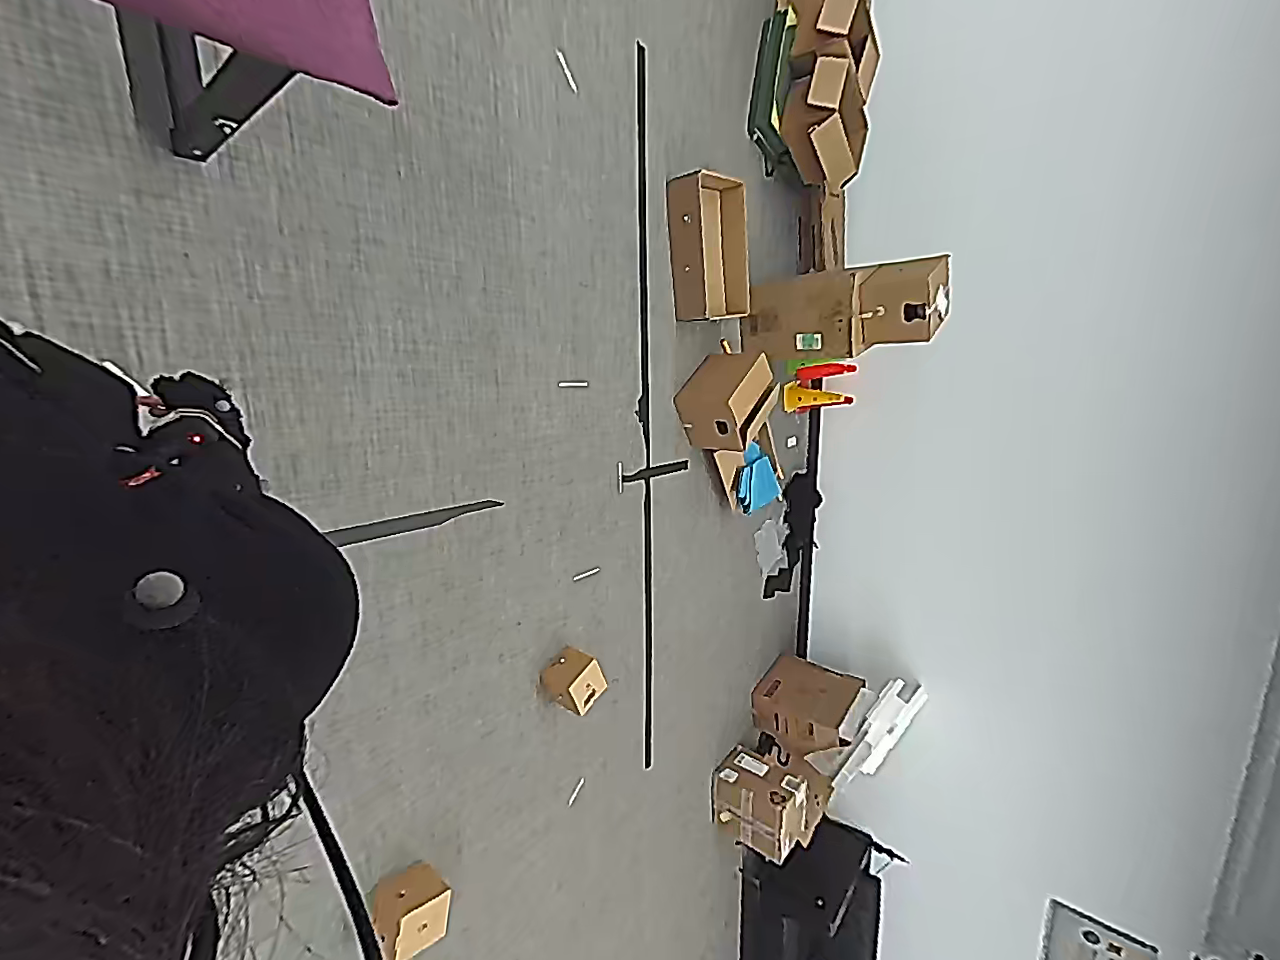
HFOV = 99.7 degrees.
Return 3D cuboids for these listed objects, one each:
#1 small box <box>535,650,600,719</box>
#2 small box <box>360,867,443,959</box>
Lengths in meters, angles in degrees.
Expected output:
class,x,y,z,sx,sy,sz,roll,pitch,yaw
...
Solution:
class,x,y,z,sx,sy,sz,roll,pitch,yaw
small box,-0.293,0.822,2.189,0.168,0.176,0.179,-42,127,-39
small box,-0.760,1.388,1.716,0.179,0.176,0.168,6,94,-53
